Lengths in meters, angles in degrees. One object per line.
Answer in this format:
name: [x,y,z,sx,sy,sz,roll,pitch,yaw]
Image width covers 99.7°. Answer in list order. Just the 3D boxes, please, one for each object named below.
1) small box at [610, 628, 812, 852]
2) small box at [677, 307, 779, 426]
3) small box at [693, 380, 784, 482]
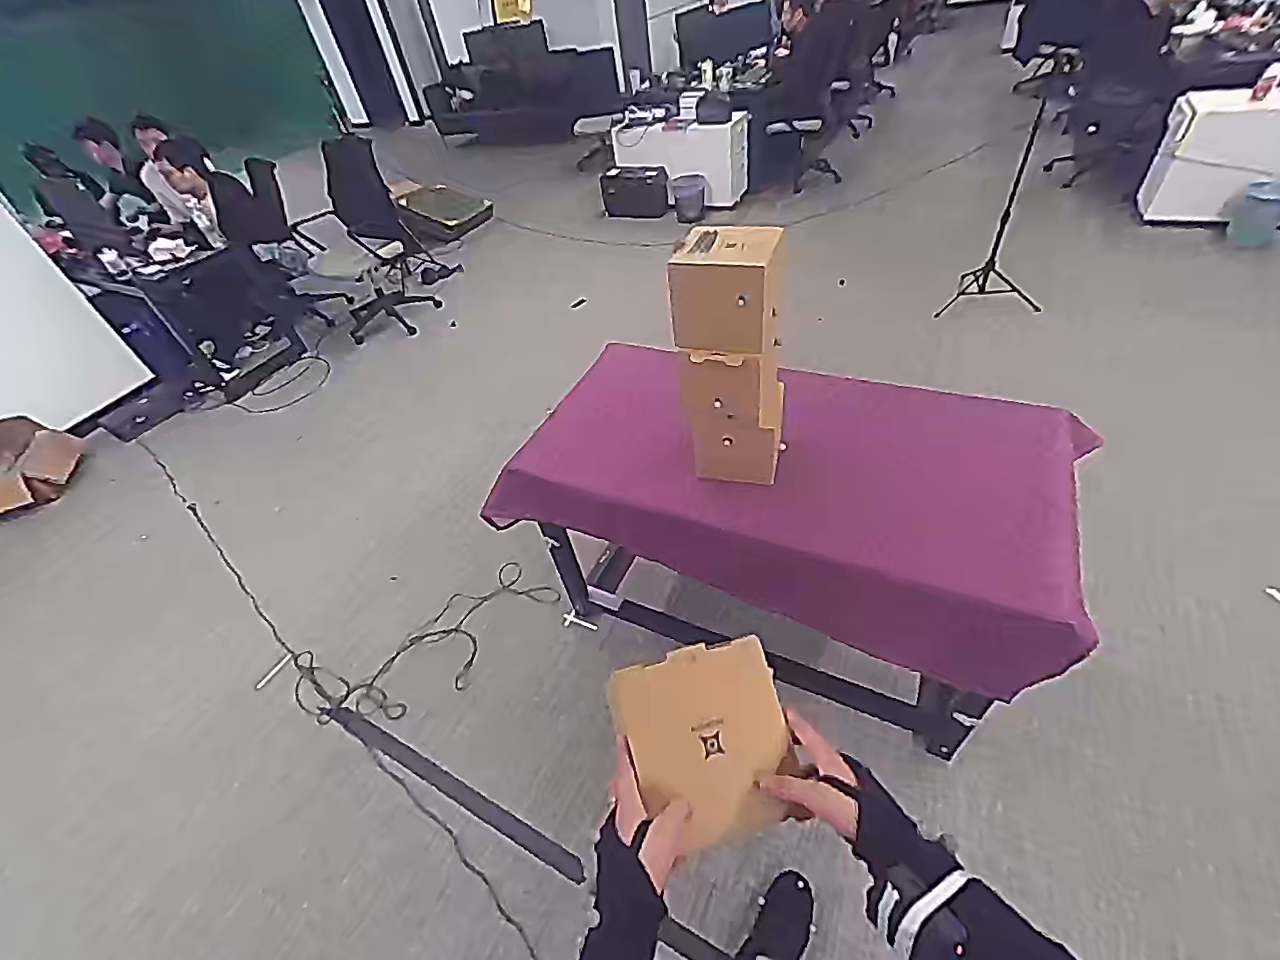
small box: [0.065,0.286,0.619,0.168,0.176,0.179,-12,67,-11]
small box: [0.186,-0.238,1.121,0.168,0.176,0.179,9,48,21]
small box: [0.226,-0.113,1.223,0.179,0.176,0.168,6,47,17]
